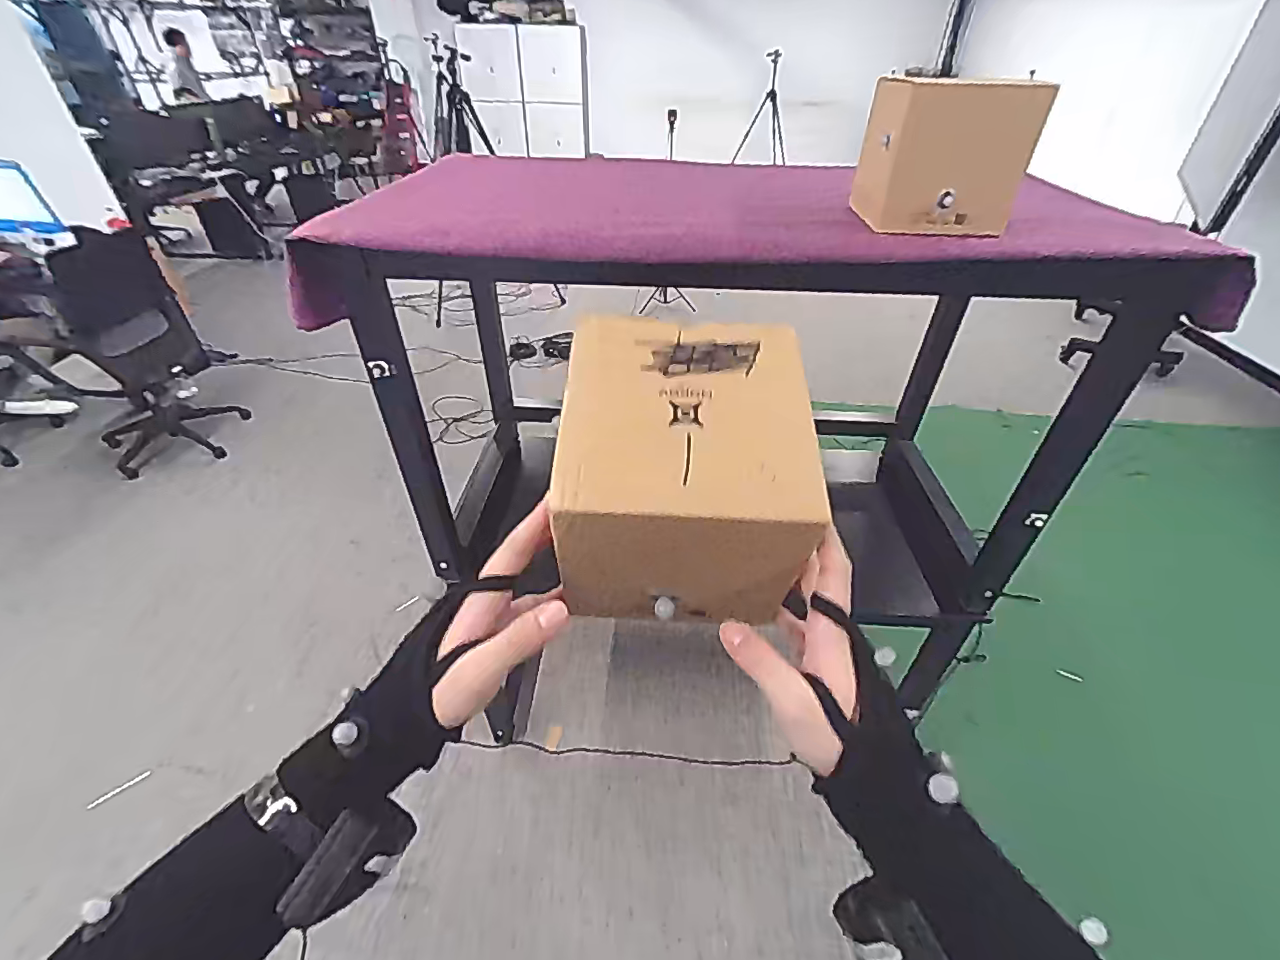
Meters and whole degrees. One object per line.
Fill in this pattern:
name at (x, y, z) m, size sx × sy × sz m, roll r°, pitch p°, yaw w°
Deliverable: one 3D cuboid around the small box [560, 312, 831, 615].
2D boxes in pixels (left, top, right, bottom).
small box at (0.033, -0.008, 0.434) m, size 0.168 × 0.176 × 0.179 m, roll 2°, pitch 56°, yaw 0°
